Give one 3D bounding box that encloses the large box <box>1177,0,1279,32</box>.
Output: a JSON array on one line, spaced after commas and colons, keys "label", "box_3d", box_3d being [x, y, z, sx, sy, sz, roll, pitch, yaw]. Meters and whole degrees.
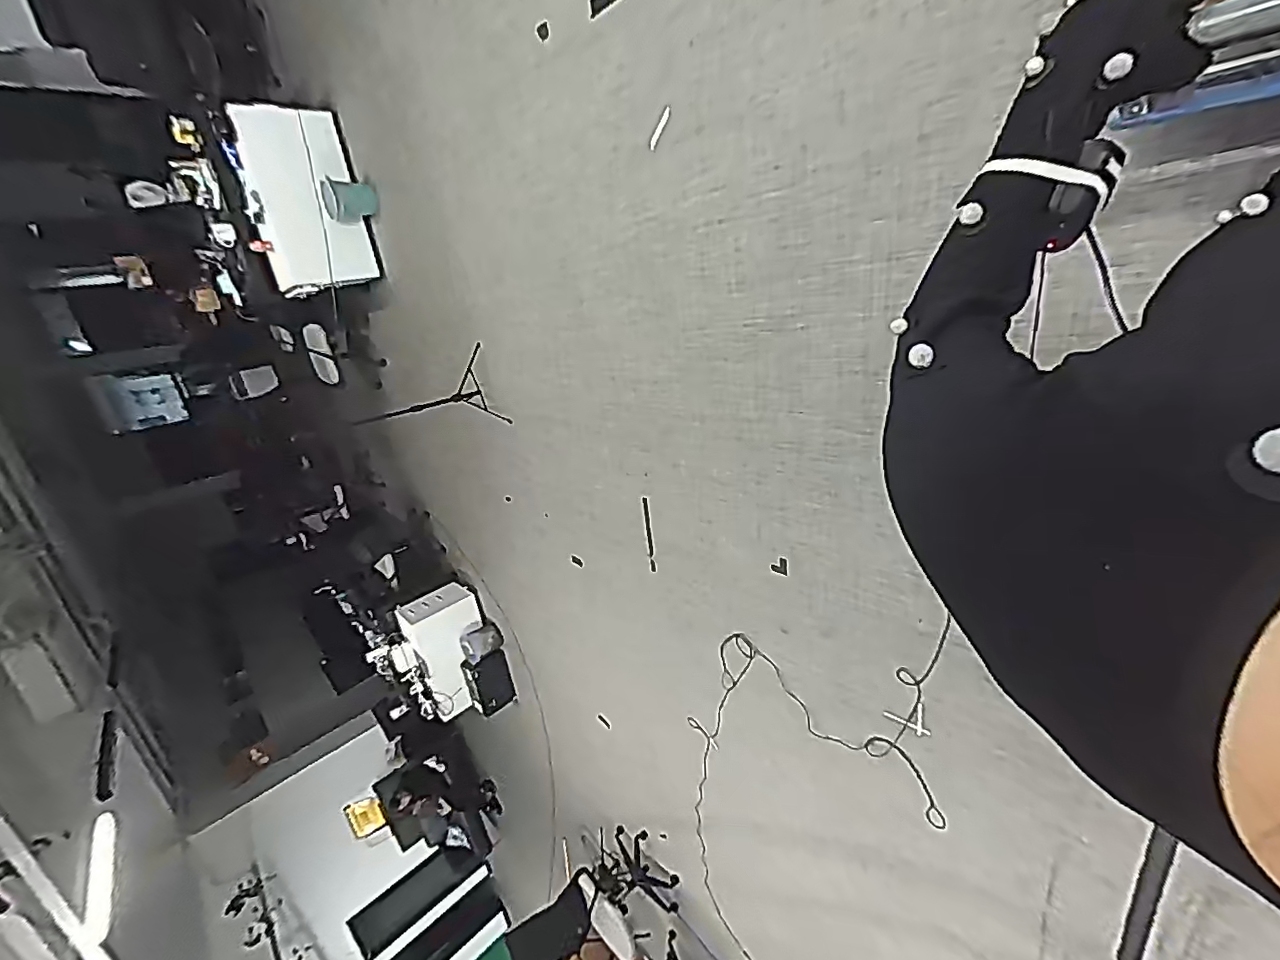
[{"label": "large box", "box_3d": [0.828, -0.756, 0.543, 0.408, 0.320, 0.320, 6, 115, 47]}]
